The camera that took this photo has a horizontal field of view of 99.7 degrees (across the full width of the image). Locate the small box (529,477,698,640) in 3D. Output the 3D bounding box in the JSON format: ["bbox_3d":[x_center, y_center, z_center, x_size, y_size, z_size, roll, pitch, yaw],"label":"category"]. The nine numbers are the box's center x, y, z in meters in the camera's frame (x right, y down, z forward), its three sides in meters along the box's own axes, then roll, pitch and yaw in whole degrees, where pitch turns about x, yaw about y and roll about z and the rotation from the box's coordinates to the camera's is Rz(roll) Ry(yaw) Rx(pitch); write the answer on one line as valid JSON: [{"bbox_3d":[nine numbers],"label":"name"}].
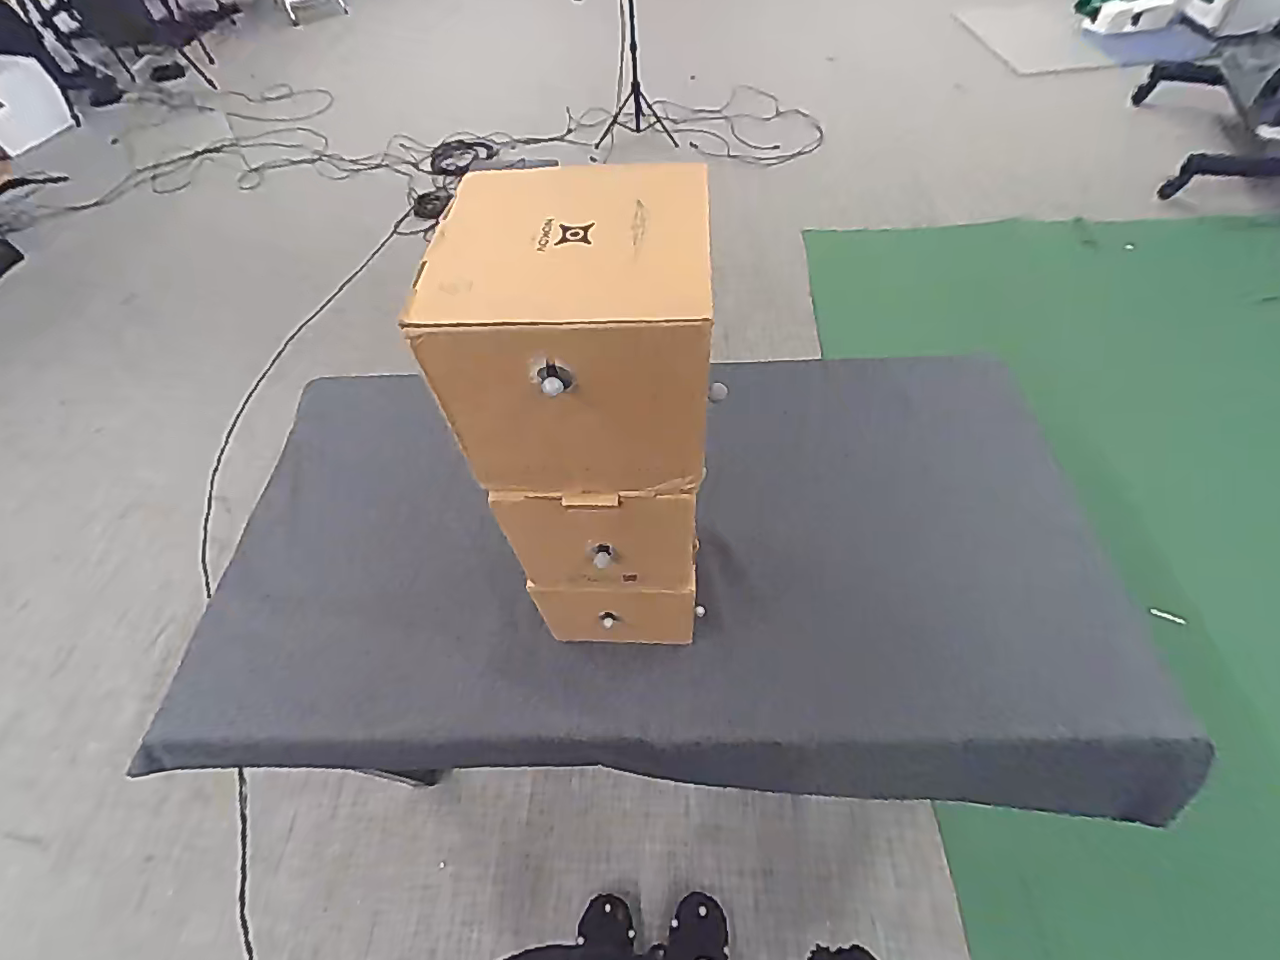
[{"bbox_3d":[-0.020,0.089,0.663,0.179,0.176,0.168,0,55,5],"label":"small box"}]

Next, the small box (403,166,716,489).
[{"bbox_3d":[-0.037,-0.104,0.401,0.179,0.176,0.168,1,56,3],"label":"small box"}]

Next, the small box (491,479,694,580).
[{"bbox_3d":[-0.030,-0.010,0.534,0.168,0.176,0.179,-1,56,4],"label":"small box"}]
